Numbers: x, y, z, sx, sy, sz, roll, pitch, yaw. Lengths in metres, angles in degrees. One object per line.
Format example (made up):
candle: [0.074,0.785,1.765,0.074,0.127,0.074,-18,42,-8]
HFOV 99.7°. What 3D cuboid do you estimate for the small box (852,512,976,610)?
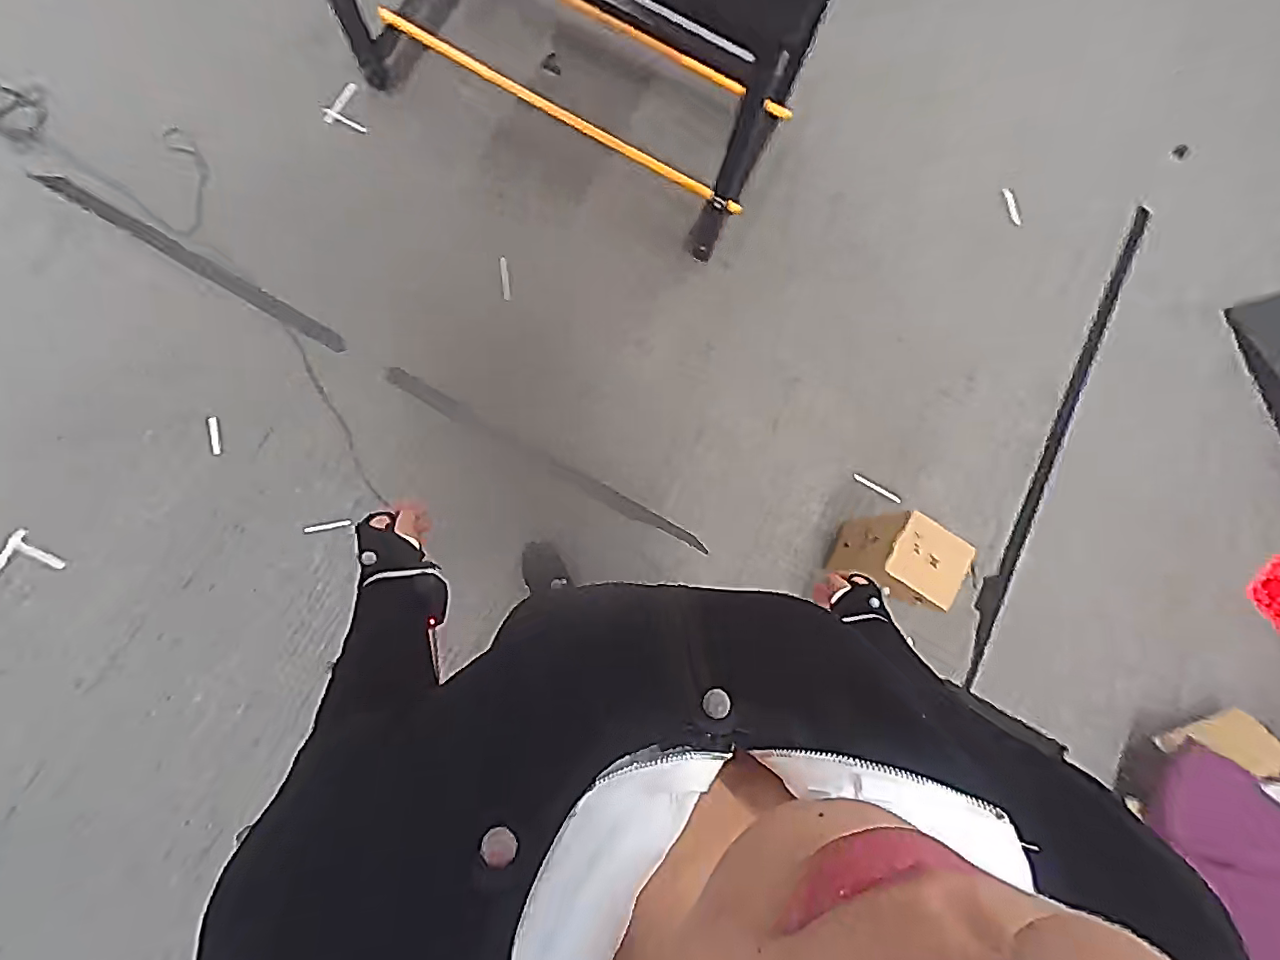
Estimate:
small box: [0.662,0.195,1.323,0.179,0.176,0.168,33,80,1]

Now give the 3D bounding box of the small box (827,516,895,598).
small box: [0.647,0.217,1.487,0.179,0.176,0.168,28,80,1]
